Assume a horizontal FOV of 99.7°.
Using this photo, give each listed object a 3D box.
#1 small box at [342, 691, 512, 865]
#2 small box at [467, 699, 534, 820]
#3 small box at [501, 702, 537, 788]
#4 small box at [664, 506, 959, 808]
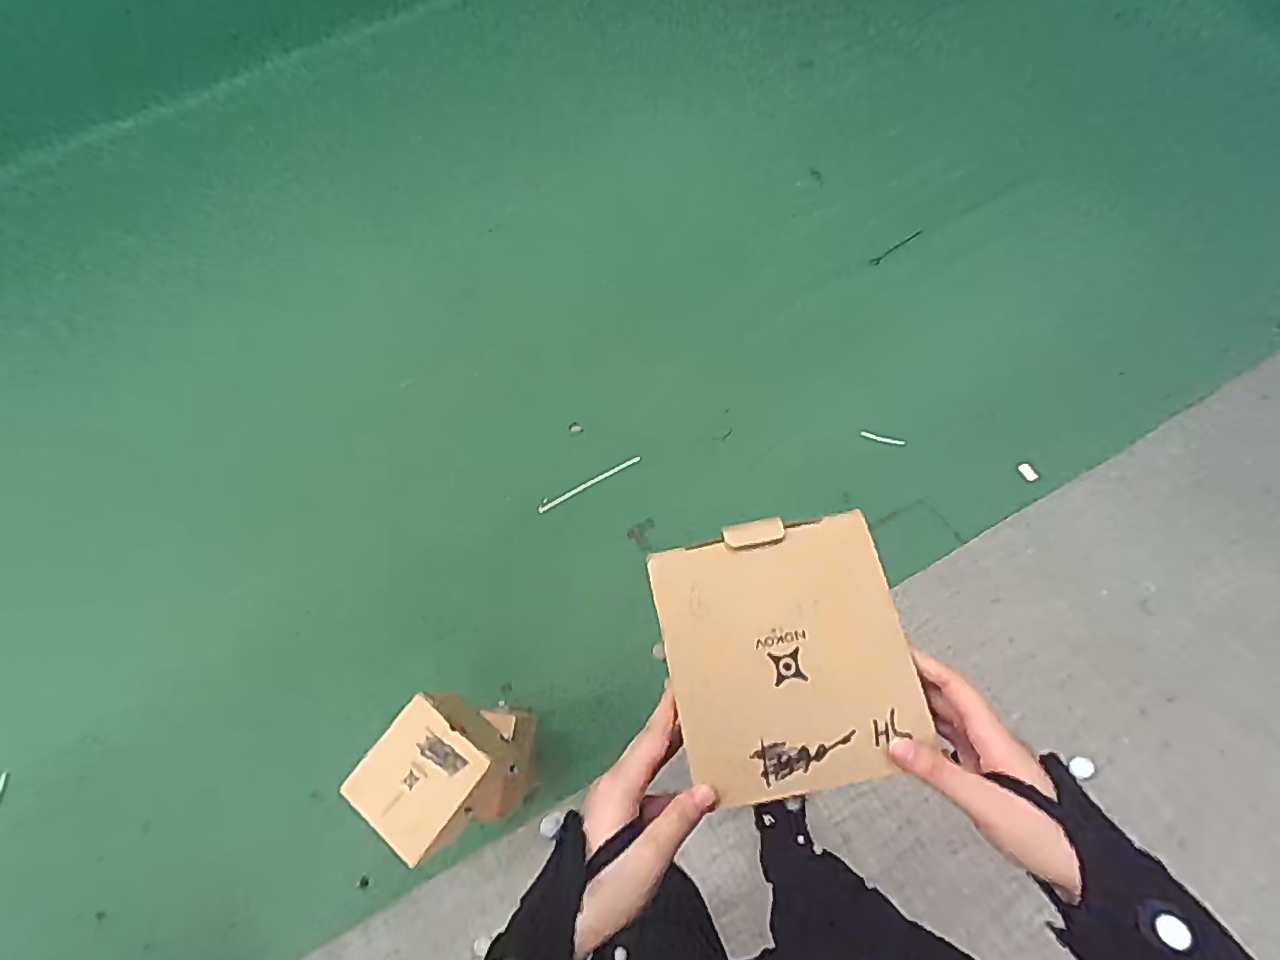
[{"bbox_3d":[-0.331,0.469,0.887,0.168,0.176,0.179,35,75,15],"label":"small box"},{"bbox_3d":[-0.313,0.526,1.040,0.168,0.176,0.179,6,68,5],"label":"small box"},{"bbox_3d":[-0.332,0.597,1.189,0.168,0.176,0.179,-14,67,-2],"label":"small box"},{"bbox_3d":[0.116,0.137,0.449,0.168,0.176,0.179,-13,75,1],"label":"small box"}]
